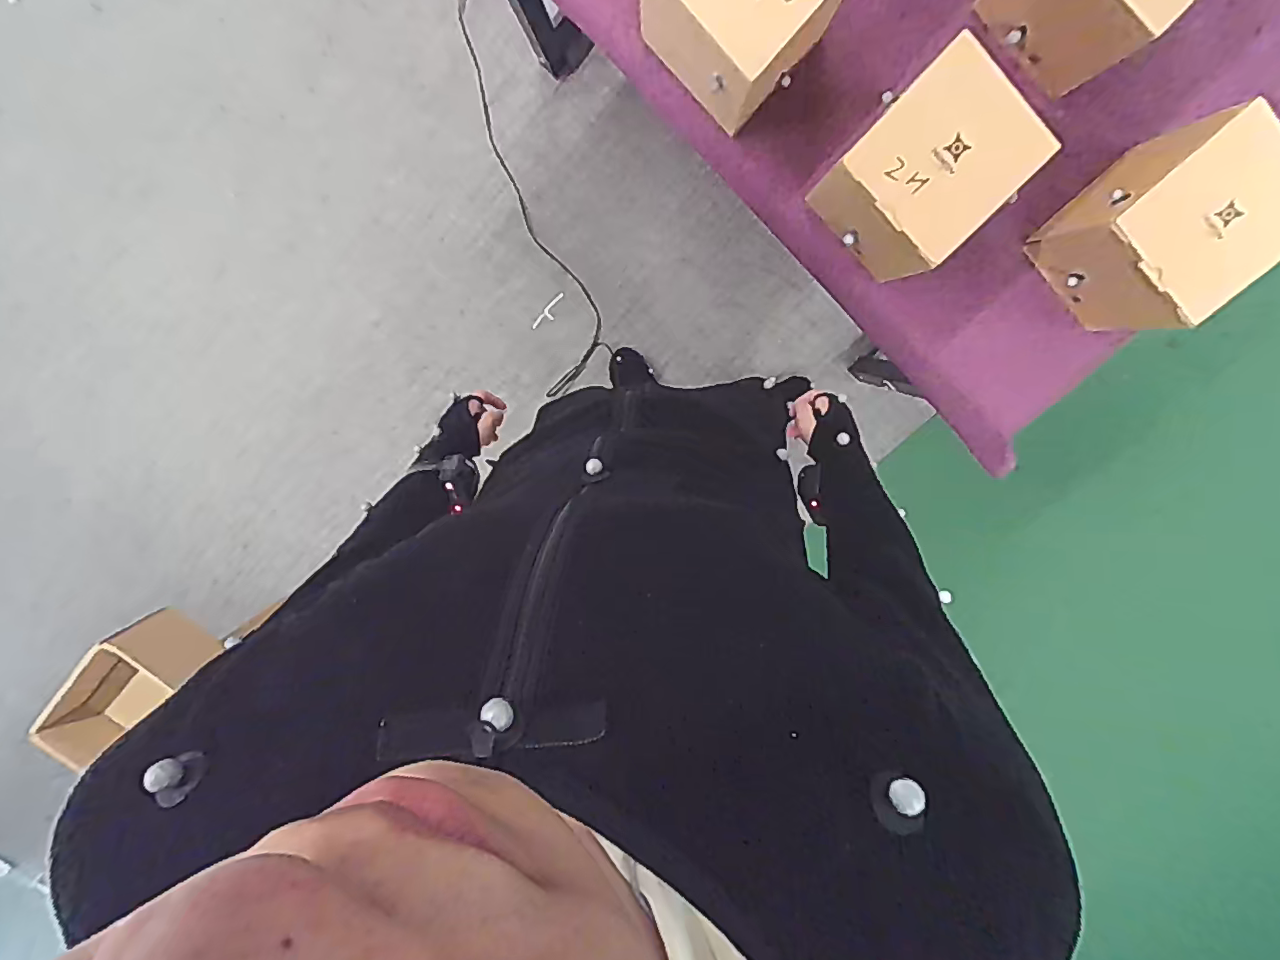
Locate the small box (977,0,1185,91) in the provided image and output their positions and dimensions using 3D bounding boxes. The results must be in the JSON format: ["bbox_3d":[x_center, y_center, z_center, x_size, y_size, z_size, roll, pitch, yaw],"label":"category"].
[{"bbox_3d":[0.532,-0.597,0.604,0.168,0.176,0.179,41,104,-7],"label":"small box"}]

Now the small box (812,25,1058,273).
[{"bbox_3d":[0.345,-0.386,0.672,0.168,0.176,0.179,44,103,-8],"label":"small box"}]

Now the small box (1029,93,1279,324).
[{"bbox_3d":[0.650,-0.317,0.675,0.168,0.176,0.179,44,104,-8],"label":"small box"}]
